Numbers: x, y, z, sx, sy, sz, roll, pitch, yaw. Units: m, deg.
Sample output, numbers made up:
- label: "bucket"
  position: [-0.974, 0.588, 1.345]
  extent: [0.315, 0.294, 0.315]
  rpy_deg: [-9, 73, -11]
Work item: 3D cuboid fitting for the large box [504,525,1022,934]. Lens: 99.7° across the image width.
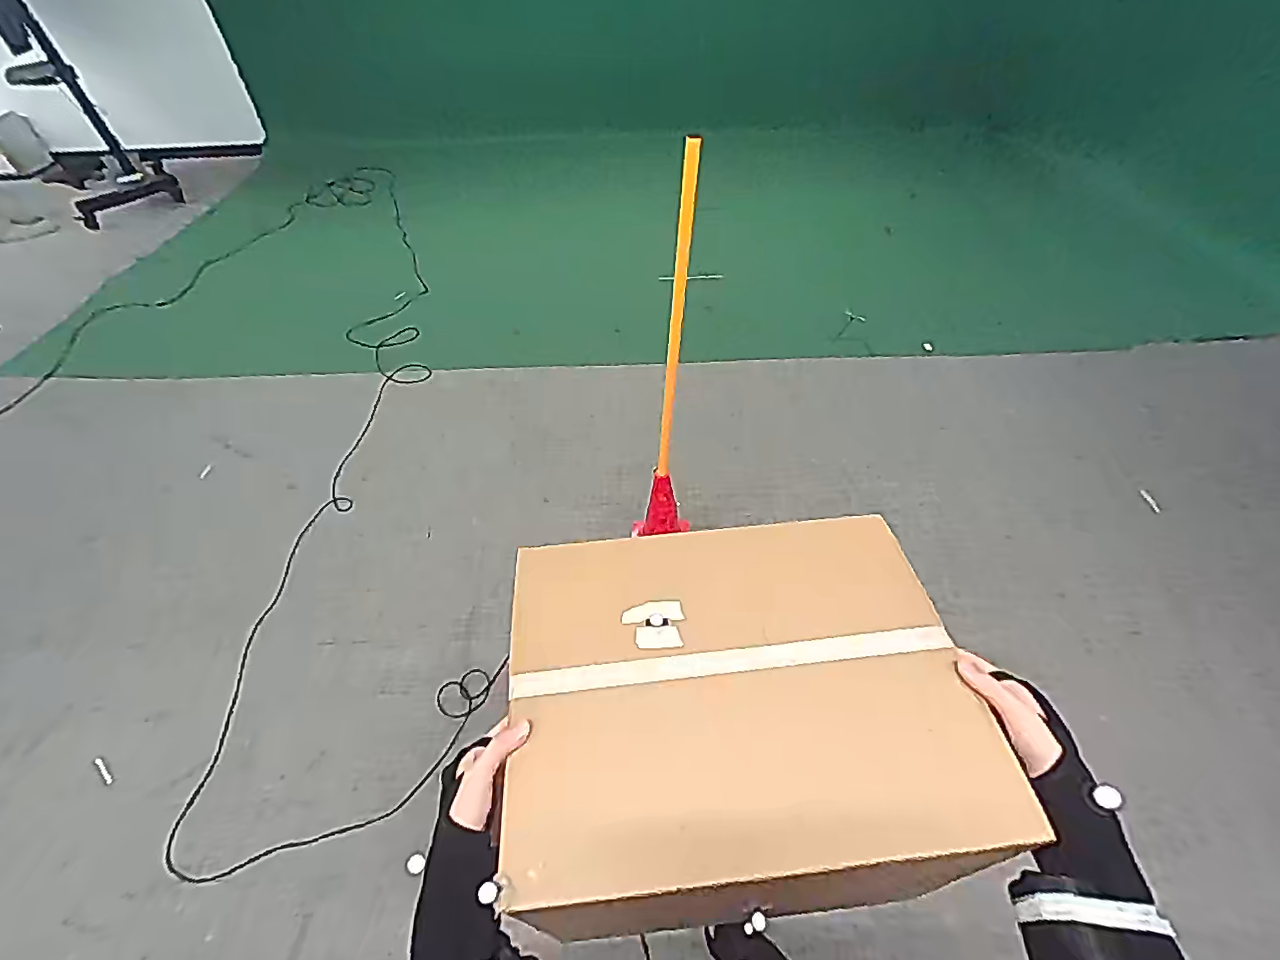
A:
- label: "large box"
  position: [0.089, 0.282, 0.611]
  extent: [0.408, 0.320, 0.320]
  rpy_deg: [-6, 46, -2]
